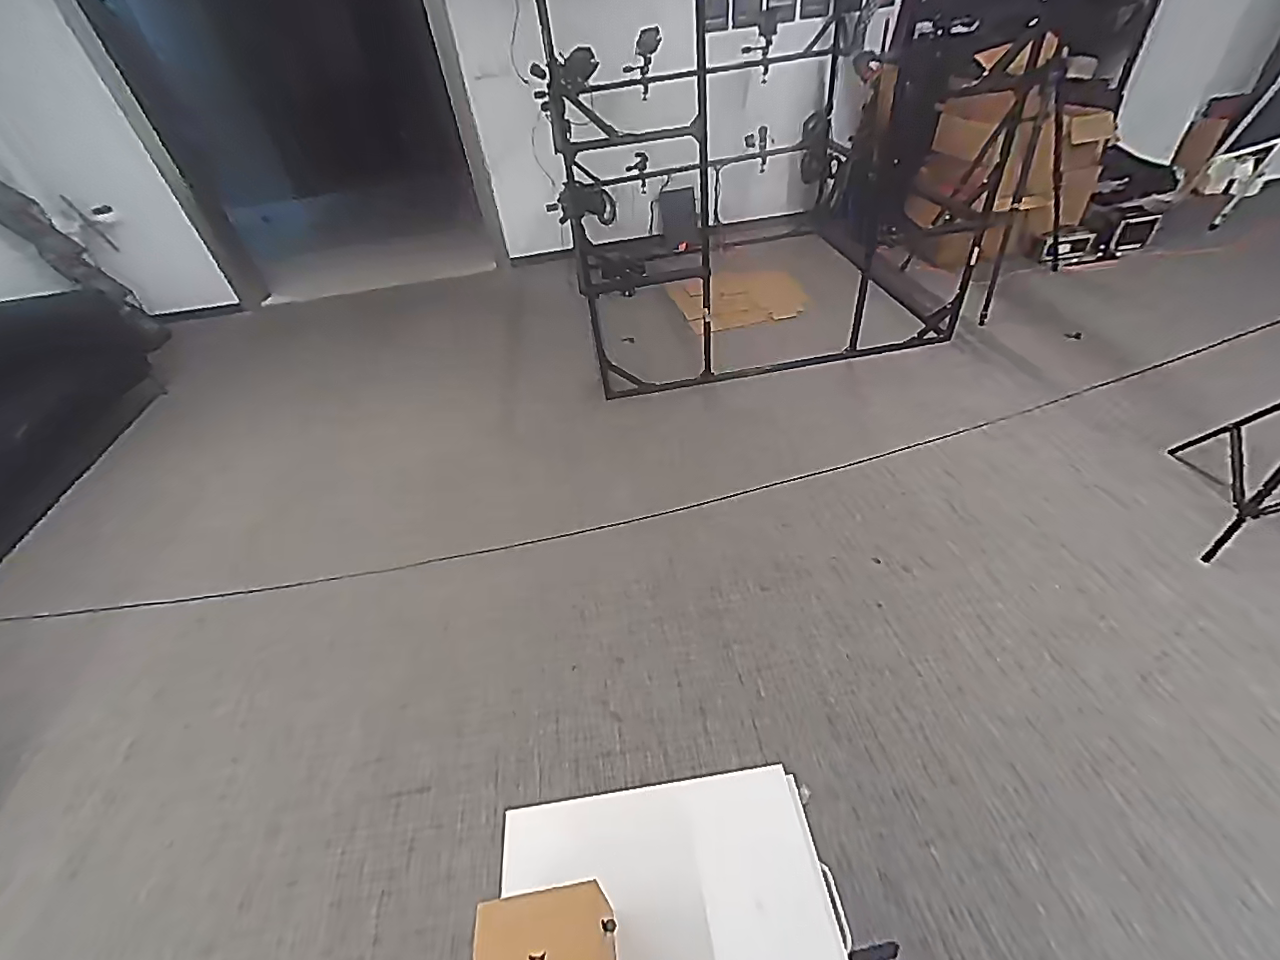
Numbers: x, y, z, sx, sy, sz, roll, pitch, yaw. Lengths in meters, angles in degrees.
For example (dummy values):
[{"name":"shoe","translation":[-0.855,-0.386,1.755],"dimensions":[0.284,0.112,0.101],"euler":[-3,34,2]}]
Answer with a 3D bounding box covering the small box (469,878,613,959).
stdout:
[{"name":"small box","translation":[-0.128,0.673,0.728],"dimensions":[0.168,0.176,0.179],"euler":[-9,42,-1]}]
